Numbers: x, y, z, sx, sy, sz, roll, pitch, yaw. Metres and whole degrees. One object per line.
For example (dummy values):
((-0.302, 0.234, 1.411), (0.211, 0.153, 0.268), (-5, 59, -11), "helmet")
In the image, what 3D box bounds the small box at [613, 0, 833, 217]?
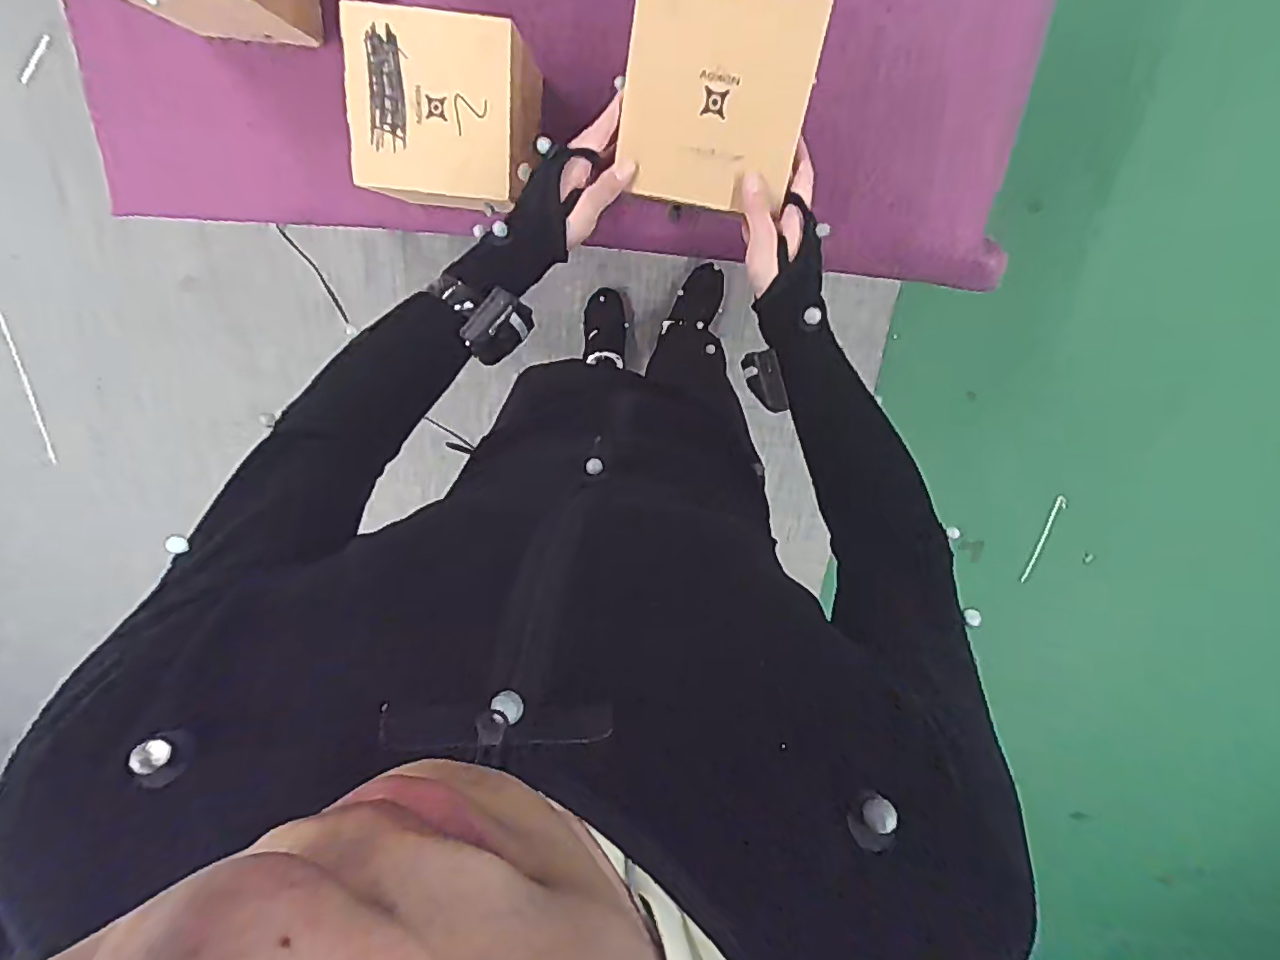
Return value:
((0.071, -0.381, 0.553), (0.168, 0.176, 0.179), (10, 114, -2), "small box")

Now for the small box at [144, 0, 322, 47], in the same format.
((-0.472, -0.603, 0.573), (0.168, 0.176, 0.179), (6, 112, 1), "small box")
